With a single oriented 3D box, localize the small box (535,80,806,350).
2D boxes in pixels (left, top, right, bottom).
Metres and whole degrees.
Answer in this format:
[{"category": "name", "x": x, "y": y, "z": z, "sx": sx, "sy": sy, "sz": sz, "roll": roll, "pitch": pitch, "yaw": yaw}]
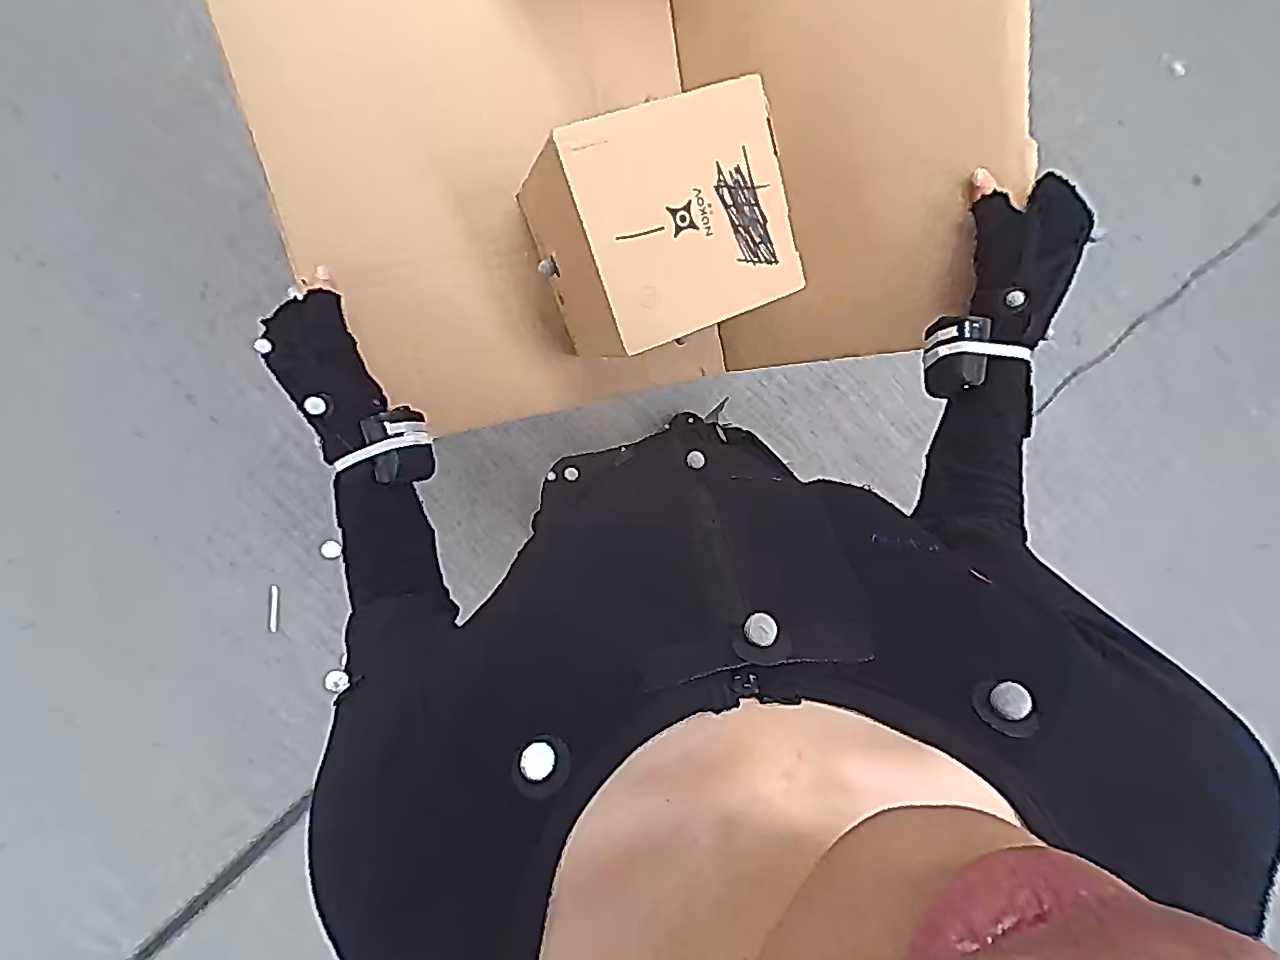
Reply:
[{"category": "small box", "x": 0.021, "y": -0.228, "z": 0.503, "sx": 0.179, "sy": 0.176, "sz": 0.168, "roll": -23, "pitch": 109, "yaw": -13}]
